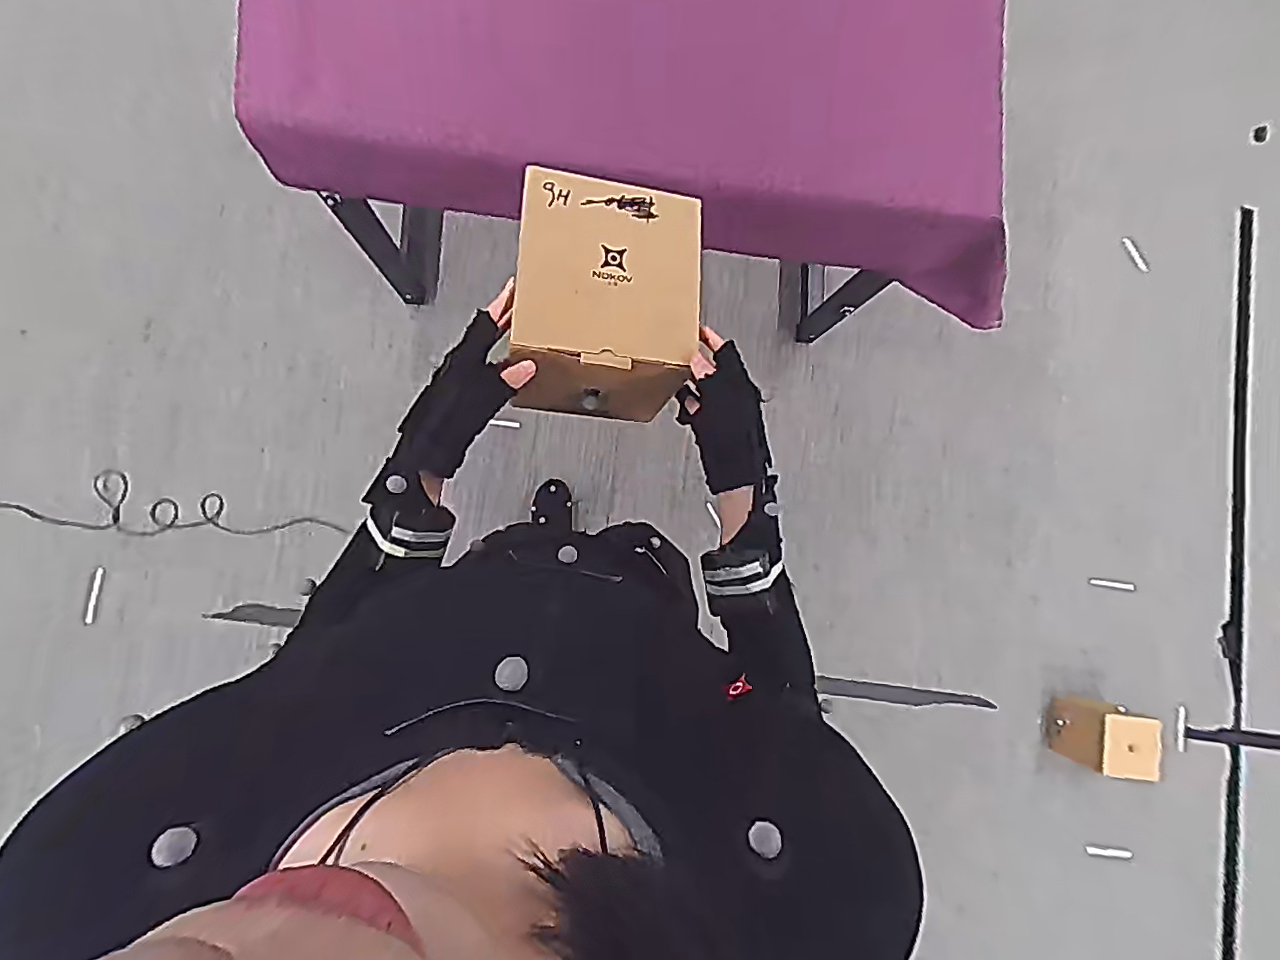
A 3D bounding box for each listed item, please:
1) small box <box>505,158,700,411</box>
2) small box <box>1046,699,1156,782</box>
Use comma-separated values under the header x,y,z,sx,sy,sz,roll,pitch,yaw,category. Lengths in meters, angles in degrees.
x,y,z,sx,sy,sz,roll,pitch,yaw,category
-0.044,-0.179,0.554,0.168,0.176,0.179,5,79,-12,small box
1.332,0.748,1.568,0.179,0.176,0.168,8,84,-5,small box
